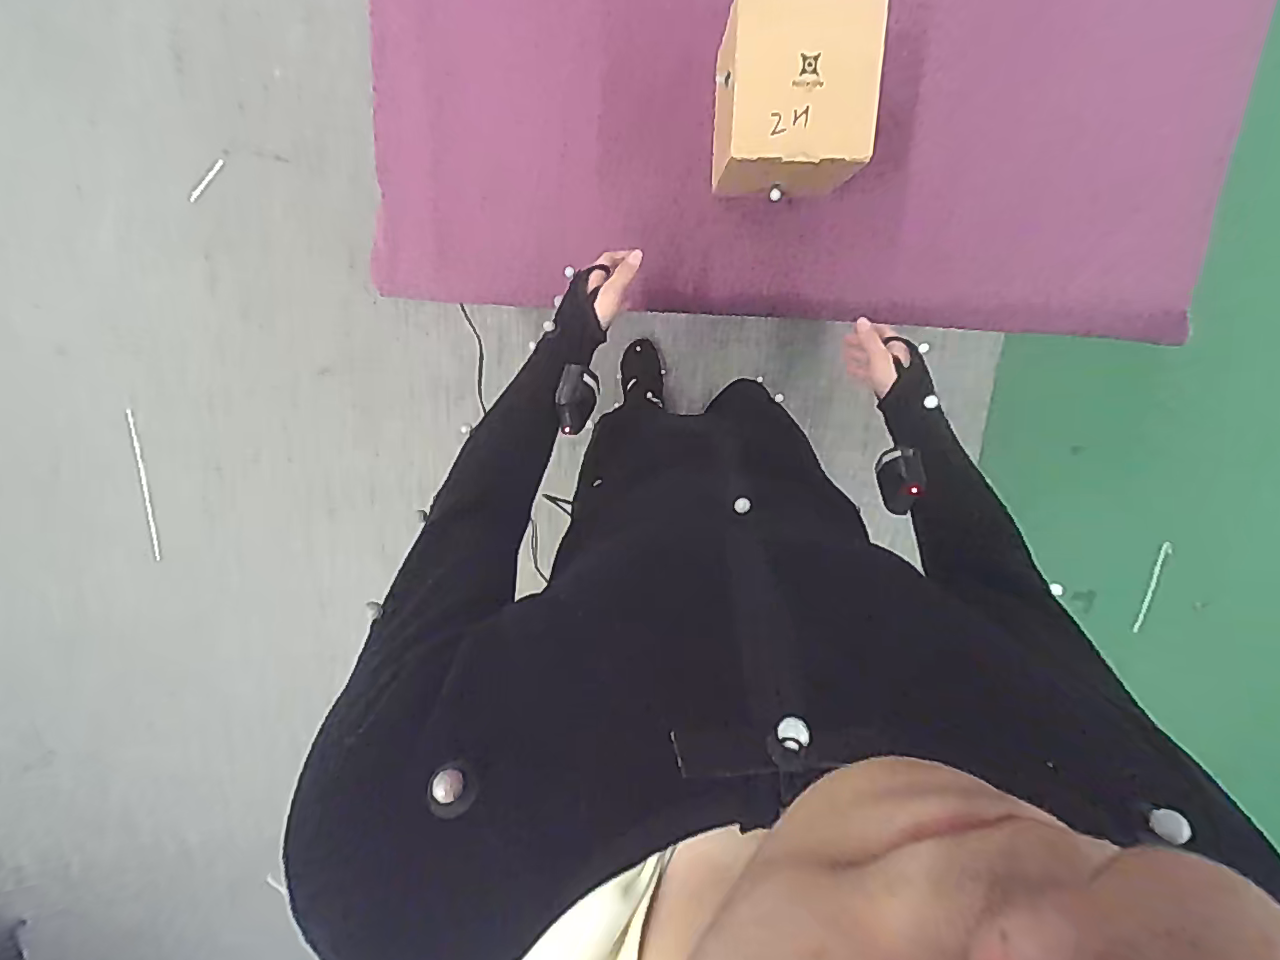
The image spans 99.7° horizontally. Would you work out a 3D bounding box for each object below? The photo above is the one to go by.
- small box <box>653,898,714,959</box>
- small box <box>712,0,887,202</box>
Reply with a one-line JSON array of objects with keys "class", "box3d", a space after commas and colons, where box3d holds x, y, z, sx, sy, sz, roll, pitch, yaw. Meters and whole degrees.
[{"class": "small box", "box3d": [0.129, 1.446, 1.673, 0.168, 0.176, 0.179, 5, 105, -2]}, {"class": "small box", "box3d": [0.185, -0.469, 0.679, 0.168, 0.176, 0.179, 1, 104, 0]}]
